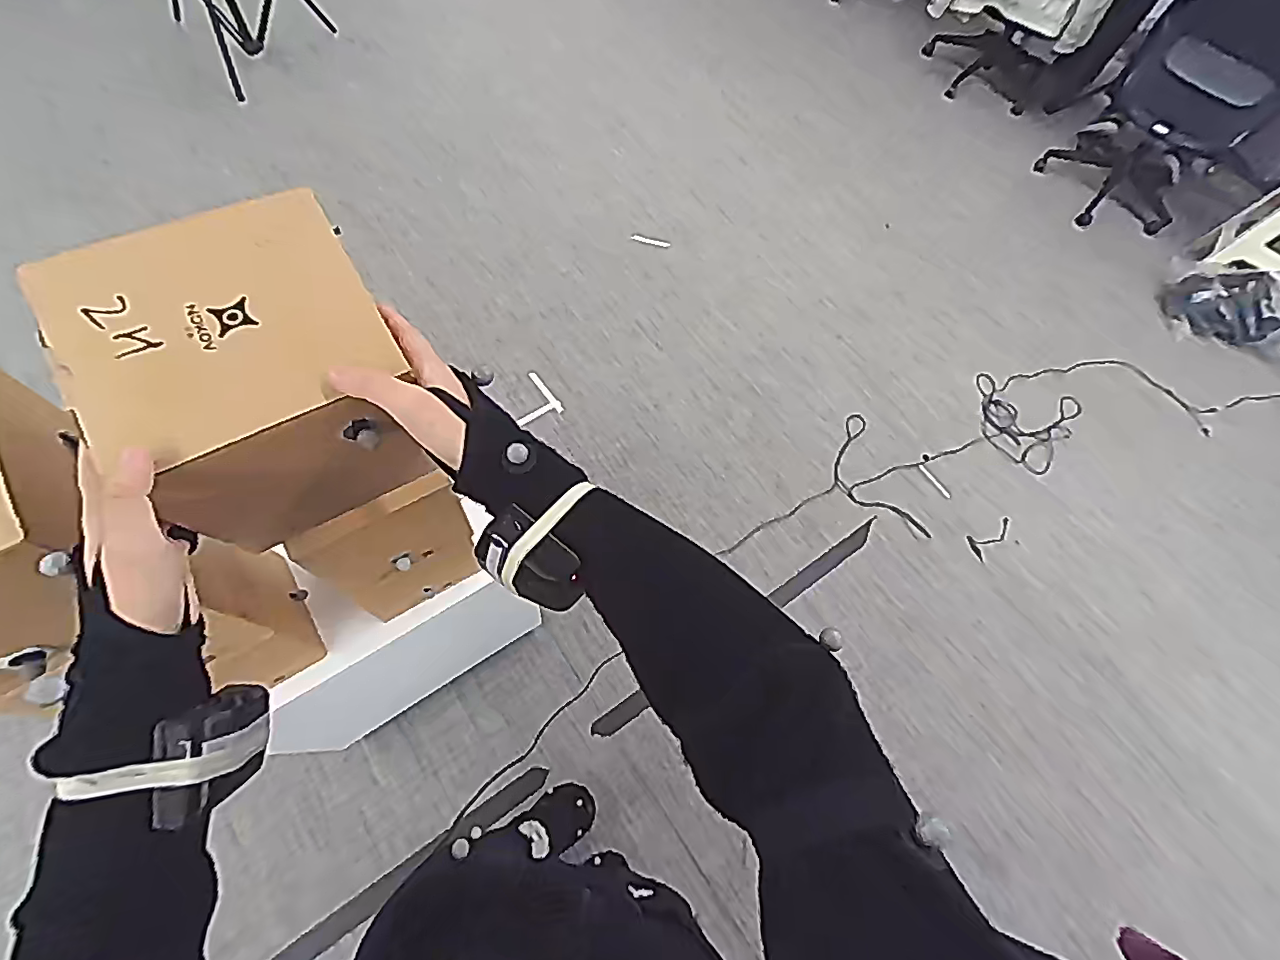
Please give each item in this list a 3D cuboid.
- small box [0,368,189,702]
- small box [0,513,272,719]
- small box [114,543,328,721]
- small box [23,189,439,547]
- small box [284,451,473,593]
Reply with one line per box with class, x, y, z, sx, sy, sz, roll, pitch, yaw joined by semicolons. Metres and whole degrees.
small box;-0.502;0.047;0.408;0.168;0.176;0.179;-32;73;-19
small box;-0.523;0.119;0.552;0.168;0.176;0.179;-31;72;-20
small box;-0.544;0.187;0.698;0.168;0.176;0.179;-30;71;-19
small box;-0.269;-0.071;0.408;0.179;0.176;0.168;-29;77;-18
small box;-0.316;0.007;0.632;0.168;0.176;0.179;-28;73;-19
